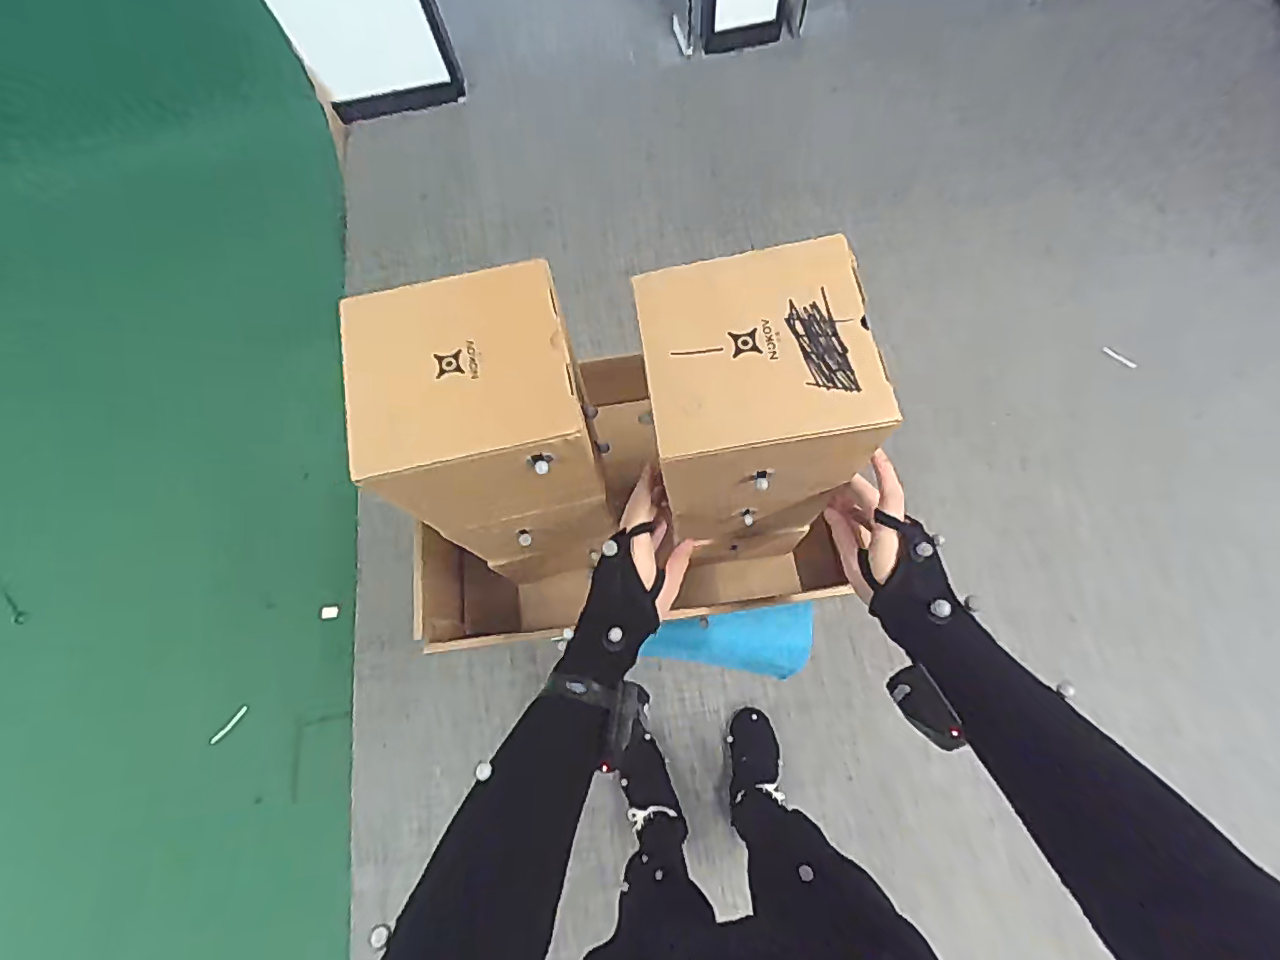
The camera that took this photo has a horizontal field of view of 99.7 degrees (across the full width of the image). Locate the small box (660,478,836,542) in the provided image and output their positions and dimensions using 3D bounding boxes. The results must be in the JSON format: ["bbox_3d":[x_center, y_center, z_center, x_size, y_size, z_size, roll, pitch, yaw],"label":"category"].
[{"bbox_3d":[0.111,-0.029,0.643,0.179,0.176,0.168,-8,71,3],"label":"small box"}]

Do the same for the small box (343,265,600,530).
[{"bbox_3d":[-0.143,-0.063,0.502,0.179,0.176,0.168,-13,71,-3],"label":"small box"}]

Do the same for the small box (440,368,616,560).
[{"bbox_3d":[-0.133,-0.009,0.657,0.179,0.176,0.168,-12,72,-2],"label":"small box"}]

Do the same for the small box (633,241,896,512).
[{"bbox_3d":[0.096,-0.078,0.488,0.179,0.176,0.168,-9,71,4],"label":"small box"}]
